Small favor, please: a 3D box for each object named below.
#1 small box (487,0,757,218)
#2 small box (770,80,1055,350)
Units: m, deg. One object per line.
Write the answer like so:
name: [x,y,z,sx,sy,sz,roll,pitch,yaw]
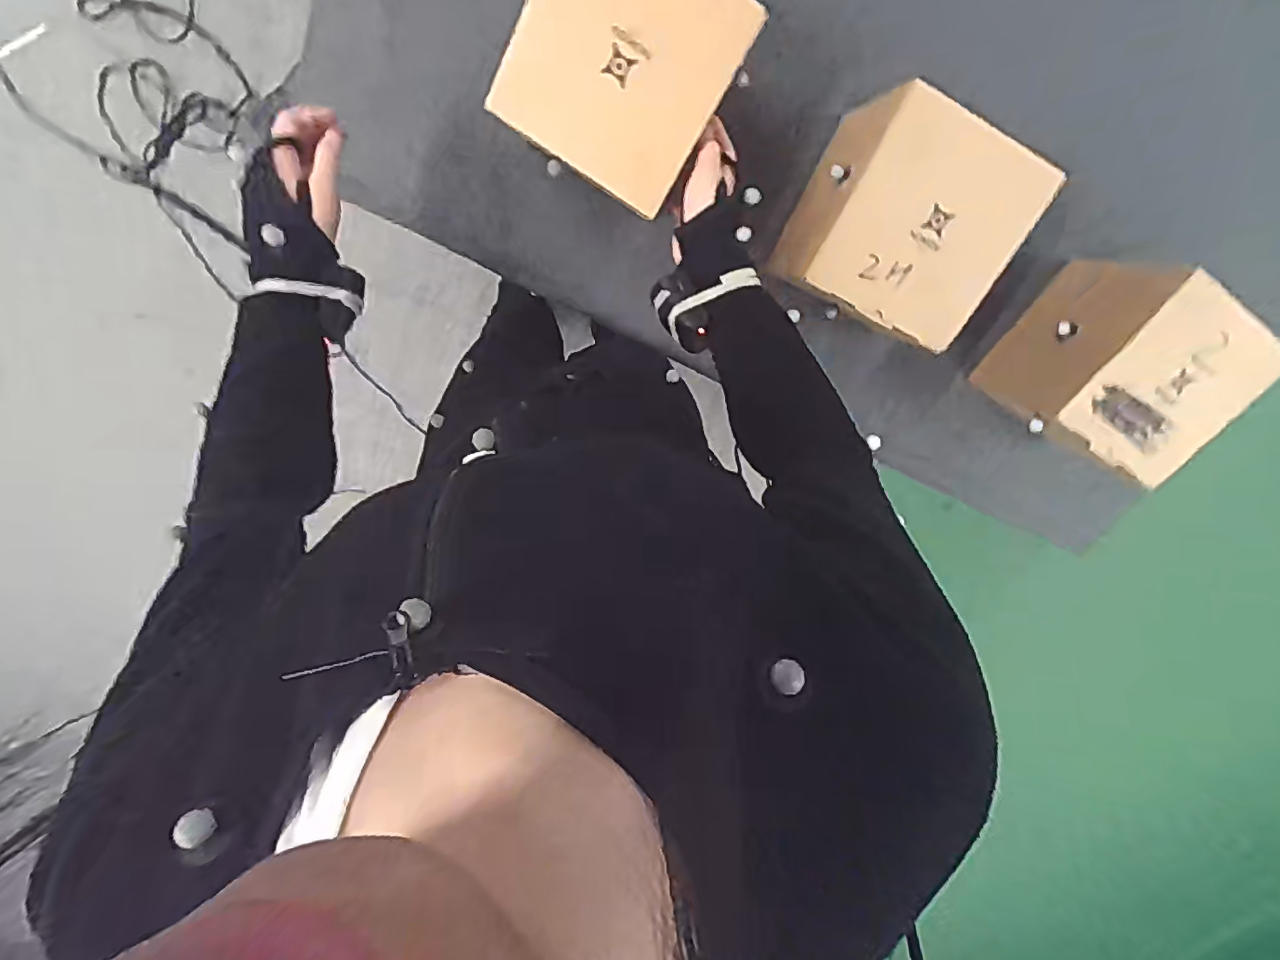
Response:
small box: [-0.018,-0.372,0.512,0.168,0.176,0.179,28,111,-13]
small box: [0.259,-0.266,0.568,0.168,0.176,0.179,23,113,-12]
